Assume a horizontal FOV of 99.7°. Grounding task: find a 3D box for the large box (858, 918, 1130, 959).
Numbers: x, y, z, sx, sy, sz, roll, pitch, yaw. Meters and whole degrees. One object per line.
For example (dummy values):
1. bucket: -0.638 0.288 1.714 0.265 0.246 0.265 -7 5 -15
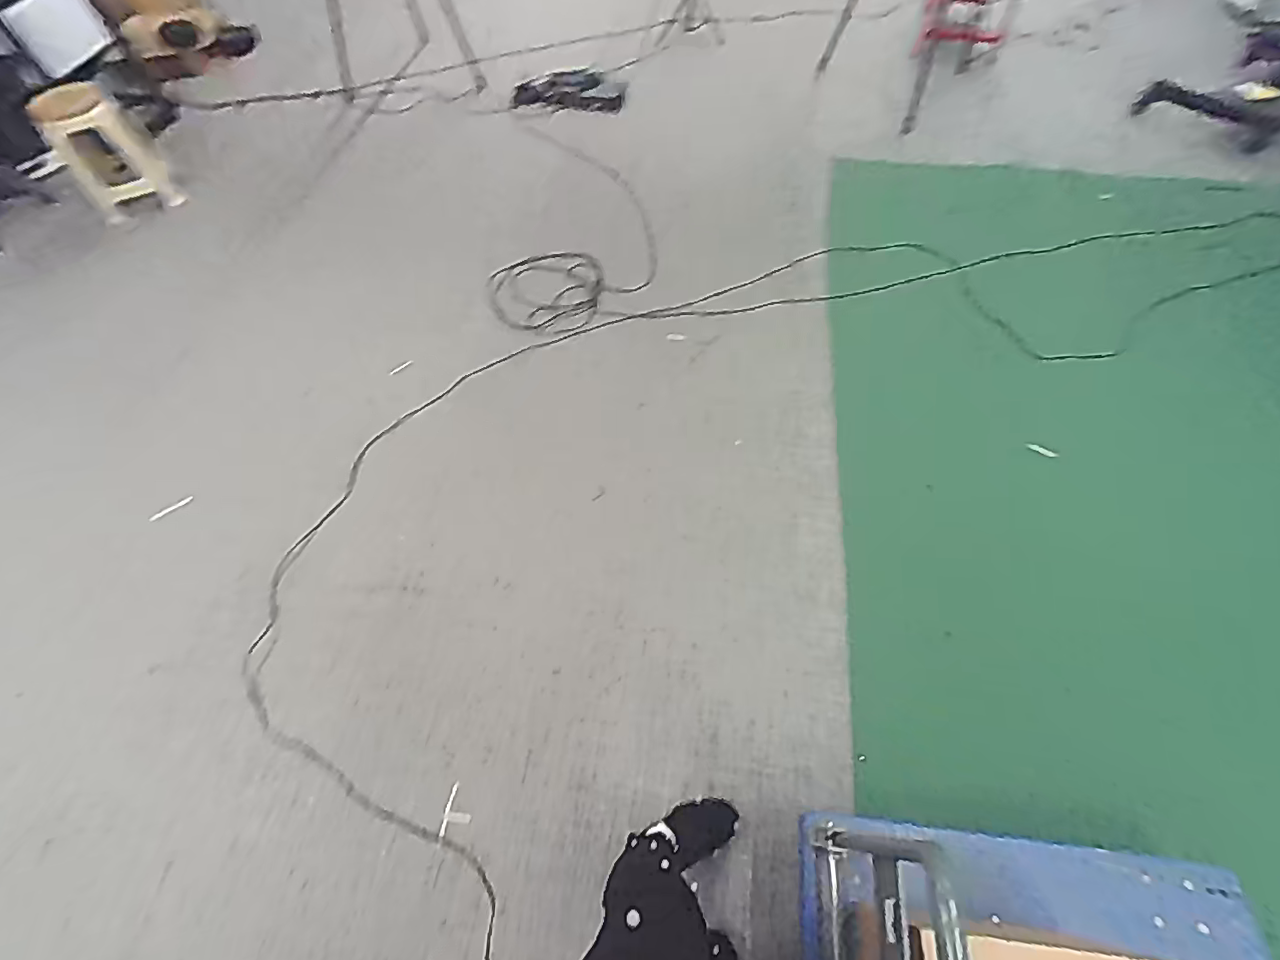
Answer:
1. large box: 0.613 0.934 0.867 0.408 0.320 0.320 5 58 5
